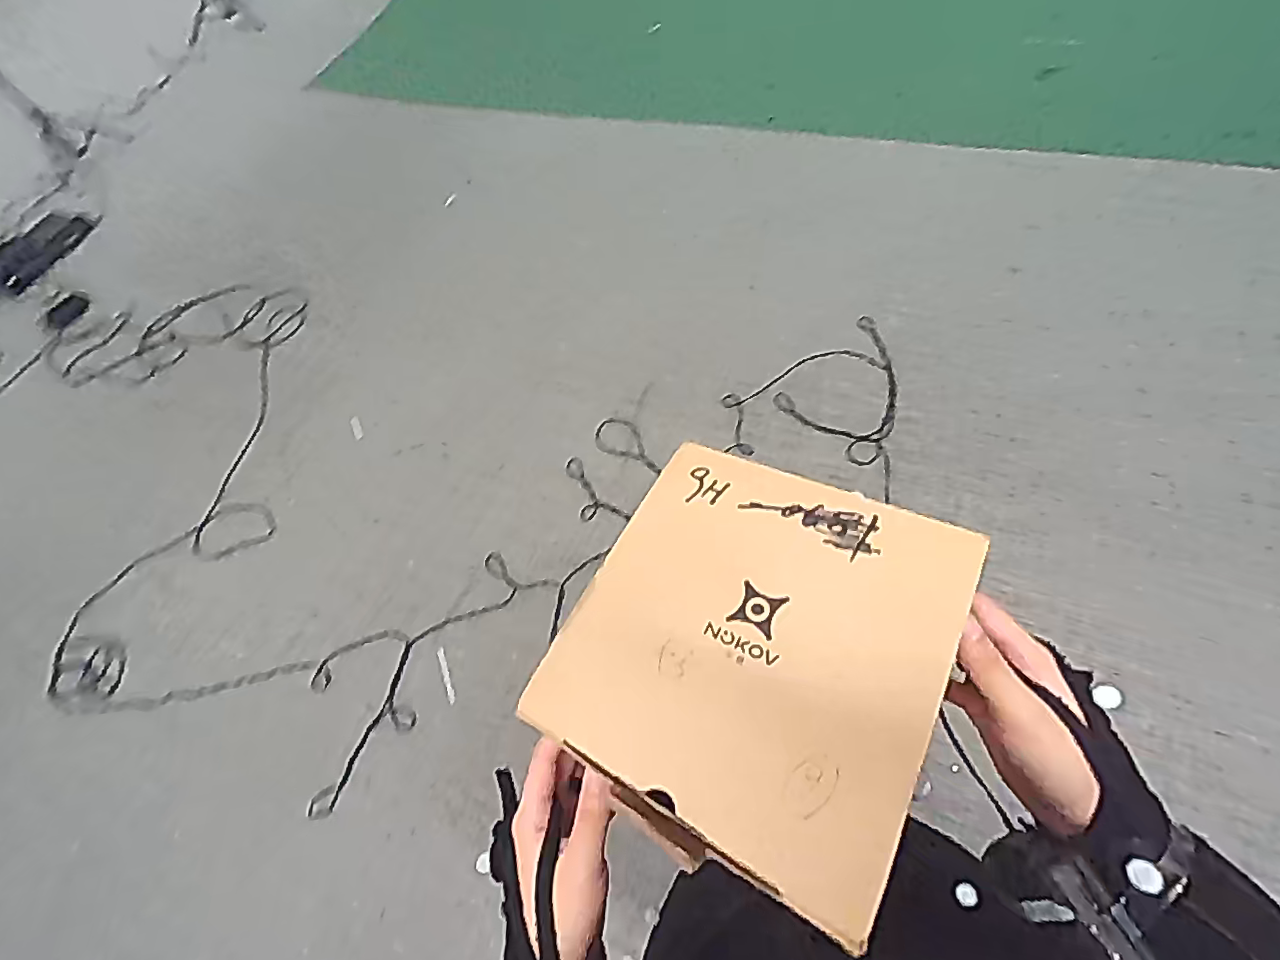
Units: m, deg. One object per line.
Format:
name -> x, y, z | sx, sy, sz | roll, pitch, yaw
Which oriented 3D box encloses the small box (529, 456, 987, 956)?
small box -> 0.073, 0.121, 0.323 | 0.168, 0.176, 0.179 | 21, 65, 28
